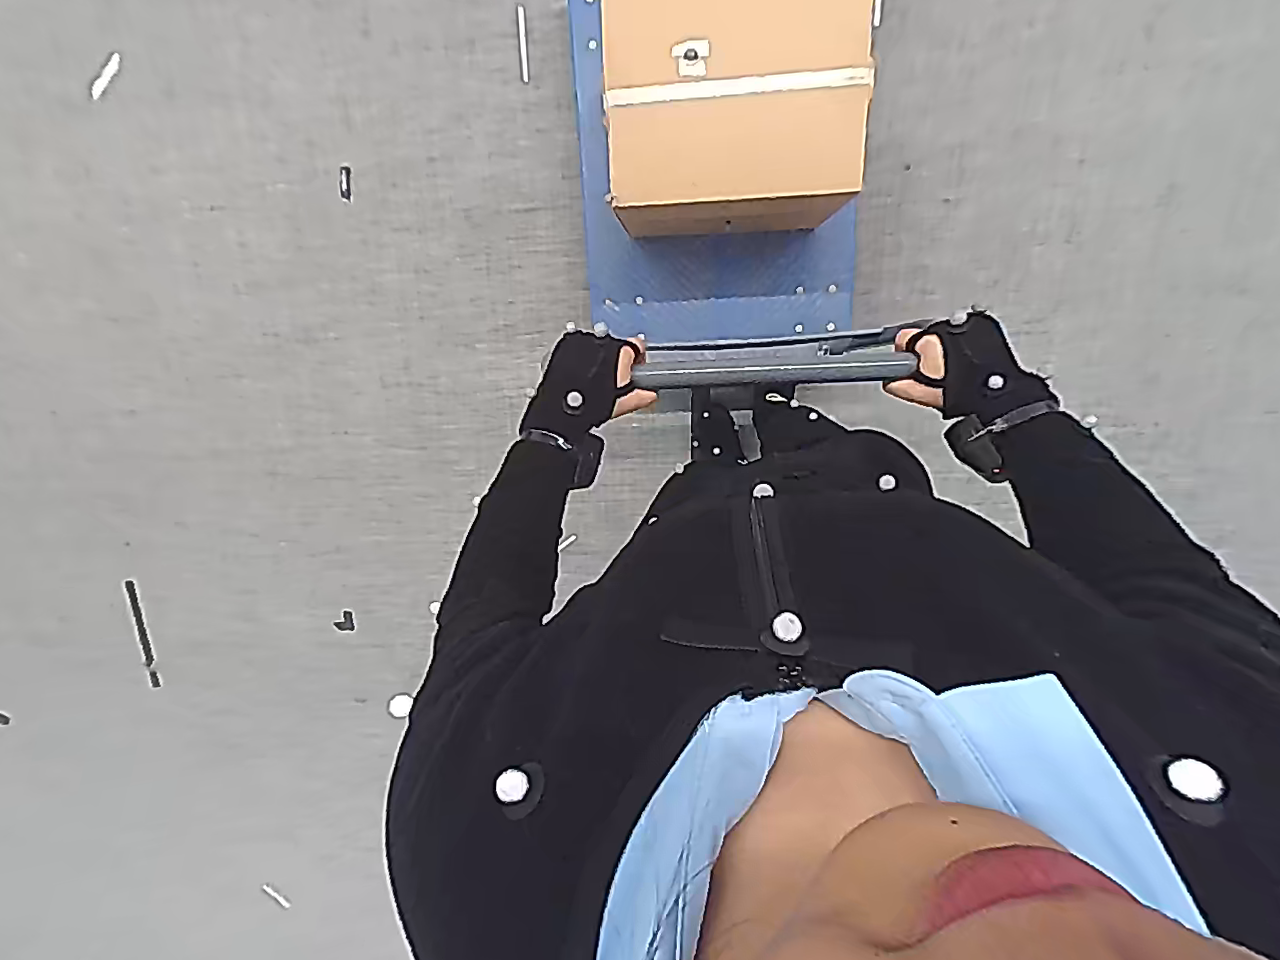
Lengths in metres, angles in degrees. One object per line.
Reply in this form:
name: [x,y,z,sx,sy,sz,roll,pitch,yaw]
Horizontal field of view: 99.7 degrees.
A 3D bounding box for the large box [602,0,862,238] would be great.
large box: [0.161,-0.650,1.005,0.408,0.320,0.320,-1,104,6]
